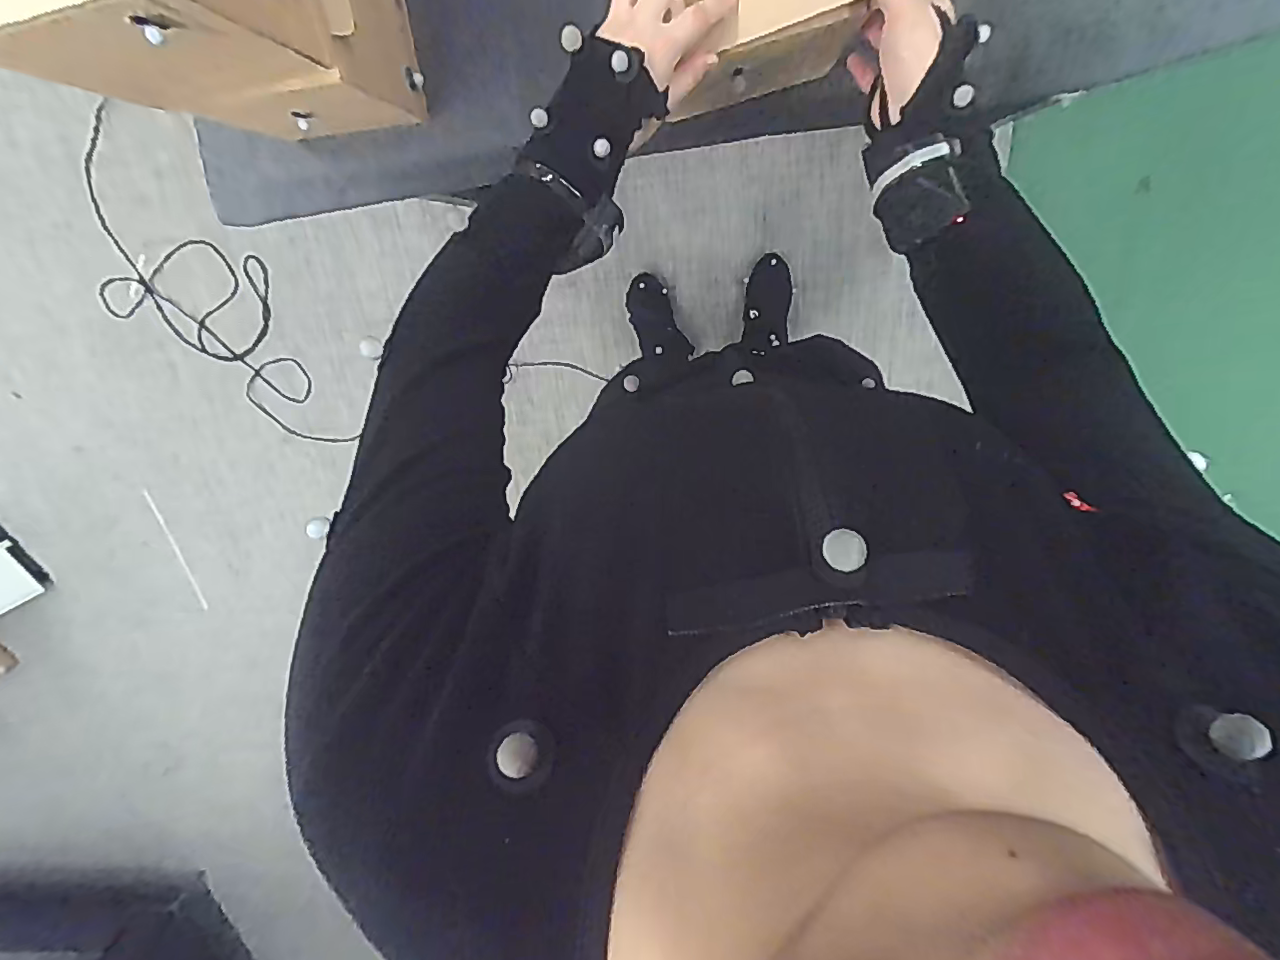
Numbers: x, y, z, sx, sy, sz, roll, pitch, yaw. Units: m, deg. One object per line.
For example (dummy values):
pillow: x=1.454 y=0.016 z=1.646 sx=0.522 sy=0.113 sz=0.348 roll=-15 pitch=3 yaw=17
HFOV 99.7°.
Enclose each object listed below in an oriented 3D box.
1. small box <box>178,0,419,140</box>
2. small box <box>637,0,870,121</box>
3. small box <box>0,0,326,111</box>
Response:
small box: x=-0.340 y=-0.448 z=0.528 sx=0.179 sy=0.176 sz=0.168 roll=-2 pitch=113 yaw=8
small box: x=0.087 y=-0.448 z=0.480 sx=0.179 sy=0.176 sz=0.168 roll=-10 pitch=111 yaw=11
small box: x=-0.372 y=-0.387 z=0.380 sx=0.179 sy=0.176 sz=0.168 roll=-7 pitch=112 yaw=9
